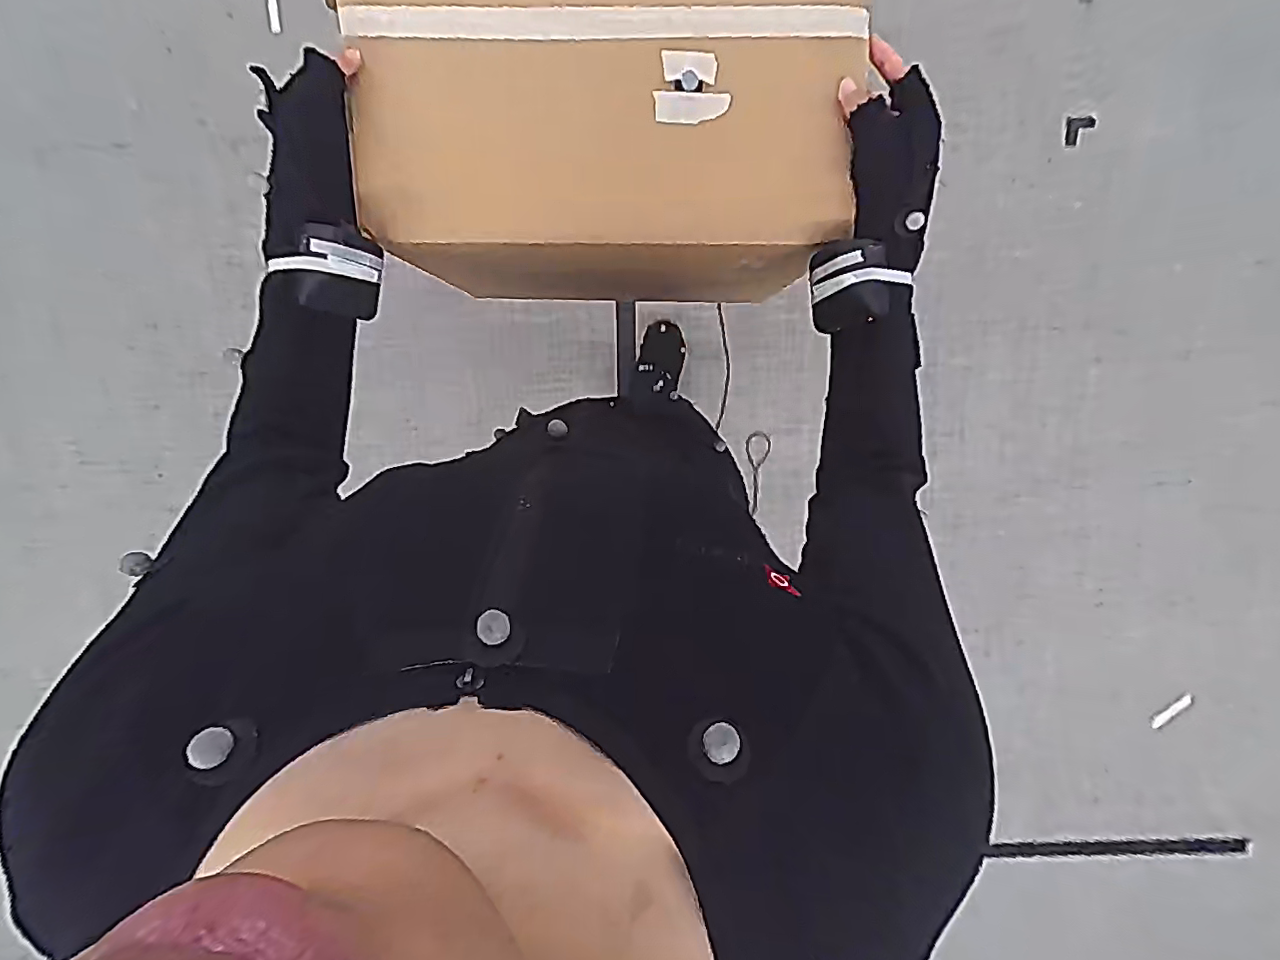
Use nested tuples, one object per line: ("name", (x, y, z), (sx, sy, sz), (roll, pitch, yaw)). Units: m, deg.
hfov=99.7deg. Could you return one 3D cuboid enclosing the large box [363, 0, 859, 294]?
("large box", (-0.025, -0.387, 0.579), (0.408, 0.320, 0.320), (0, 101, 0))
